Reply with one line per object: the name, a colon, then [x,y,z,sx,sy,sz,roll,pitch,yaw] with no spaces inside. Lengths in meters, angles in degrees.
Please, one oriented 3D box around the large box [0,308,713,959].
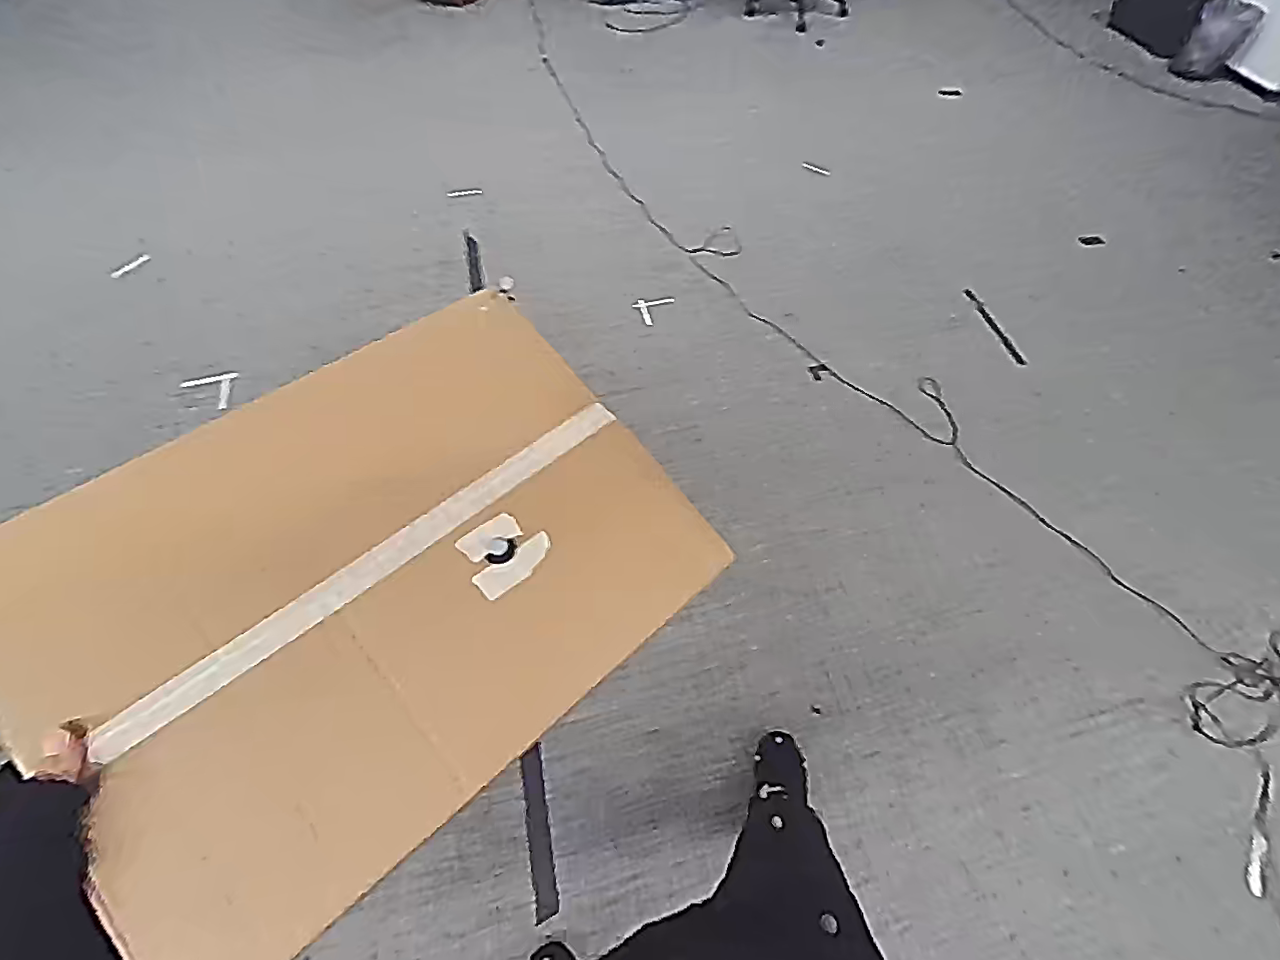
large box: [-0.207,0.123,0.519,0.408,0.320,0.320,-37,79,-23]
